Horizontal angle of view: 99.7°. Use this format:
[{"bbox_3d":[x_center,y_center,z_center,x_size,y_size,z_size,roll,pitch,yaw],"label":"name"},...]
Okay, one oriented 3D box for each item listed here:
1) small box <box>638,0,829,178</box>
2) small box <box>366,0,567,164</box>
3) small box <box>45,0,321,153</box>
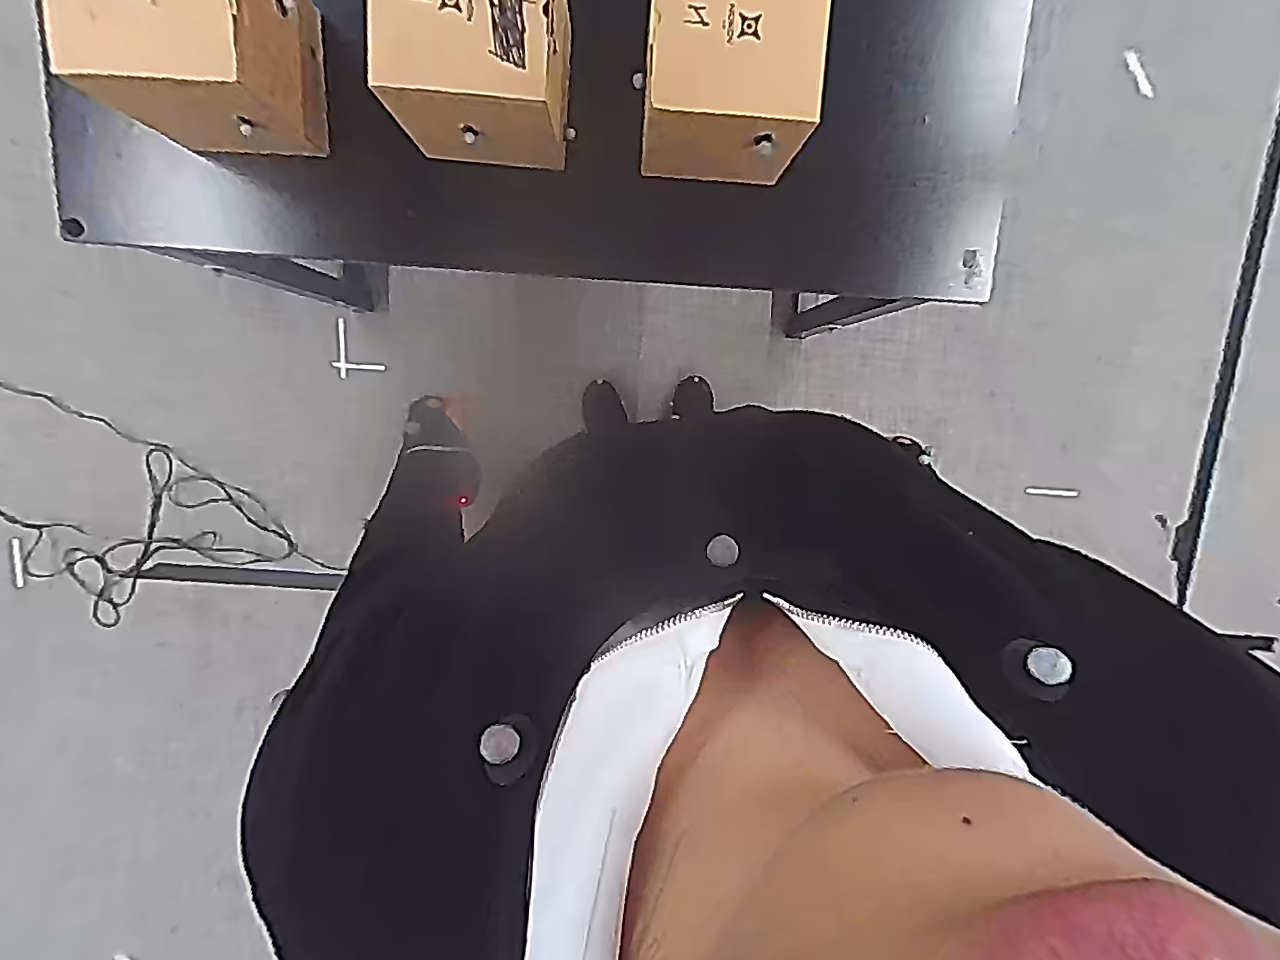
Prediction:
[{"bbox_3d":[0.093,-0.460,0.607,0.179,0.176,0.168,3,99,-3],"label":"small box"},{"bbox_3d":[-0.176,-0.472,0.595,0.179,0.176,0.168,4,99,-2],"label":"small box"},{"bbox_3d":[-0.471,-0.478,0.584,0.179,0.176,0.168,0,99,-2],"label":"small box"}]
